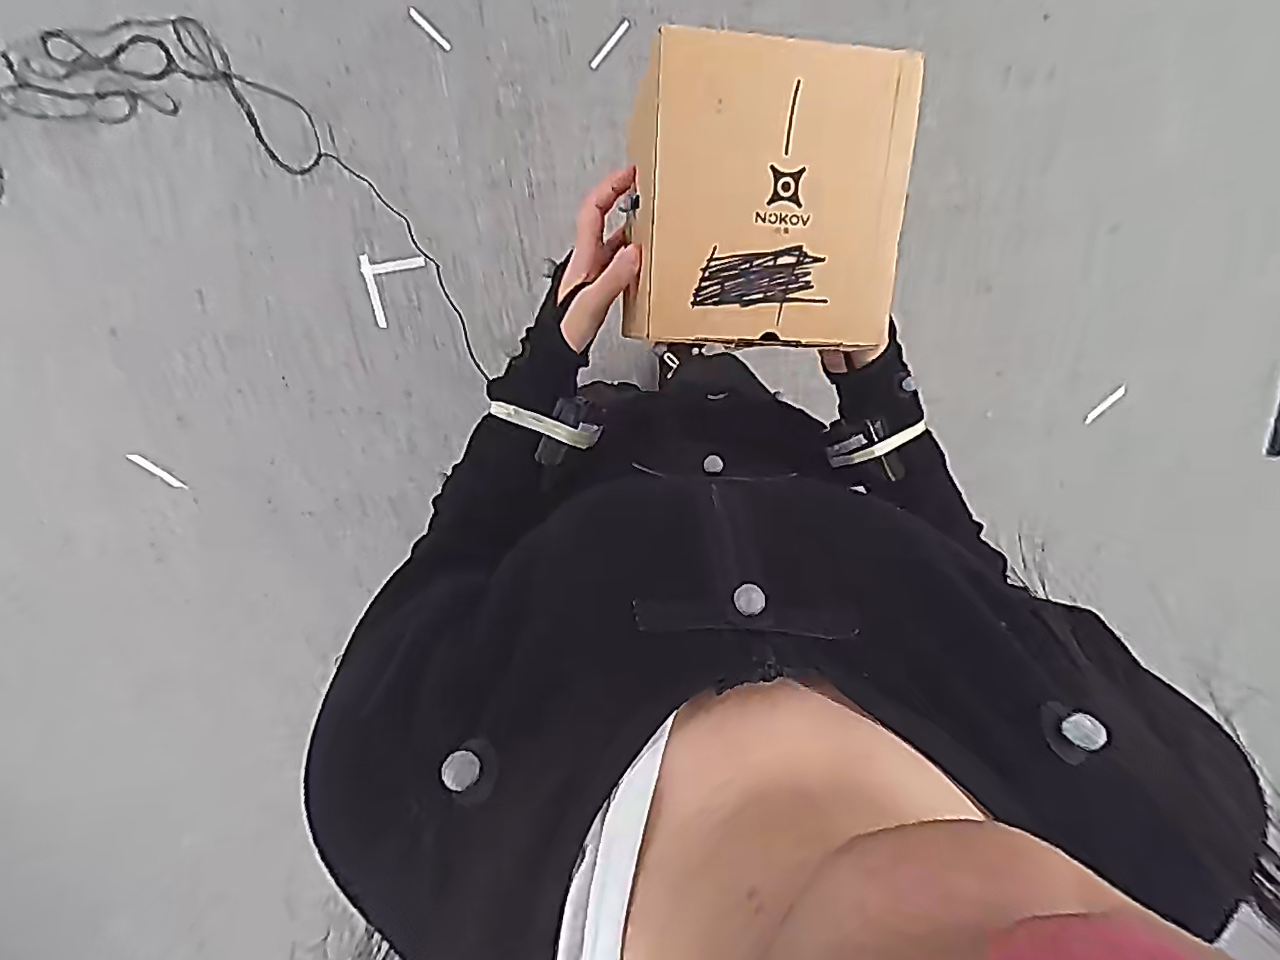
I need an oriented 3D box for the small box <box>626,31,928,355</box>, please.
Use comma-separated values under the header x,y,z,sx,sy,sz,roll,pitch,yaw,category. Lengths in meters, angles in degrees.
x,y,z,sx,sy,sz,roll,pitch,yaw,category
0.081,-0.191,0.415,0.168,0.176,0.179,0,104,-8,small box
